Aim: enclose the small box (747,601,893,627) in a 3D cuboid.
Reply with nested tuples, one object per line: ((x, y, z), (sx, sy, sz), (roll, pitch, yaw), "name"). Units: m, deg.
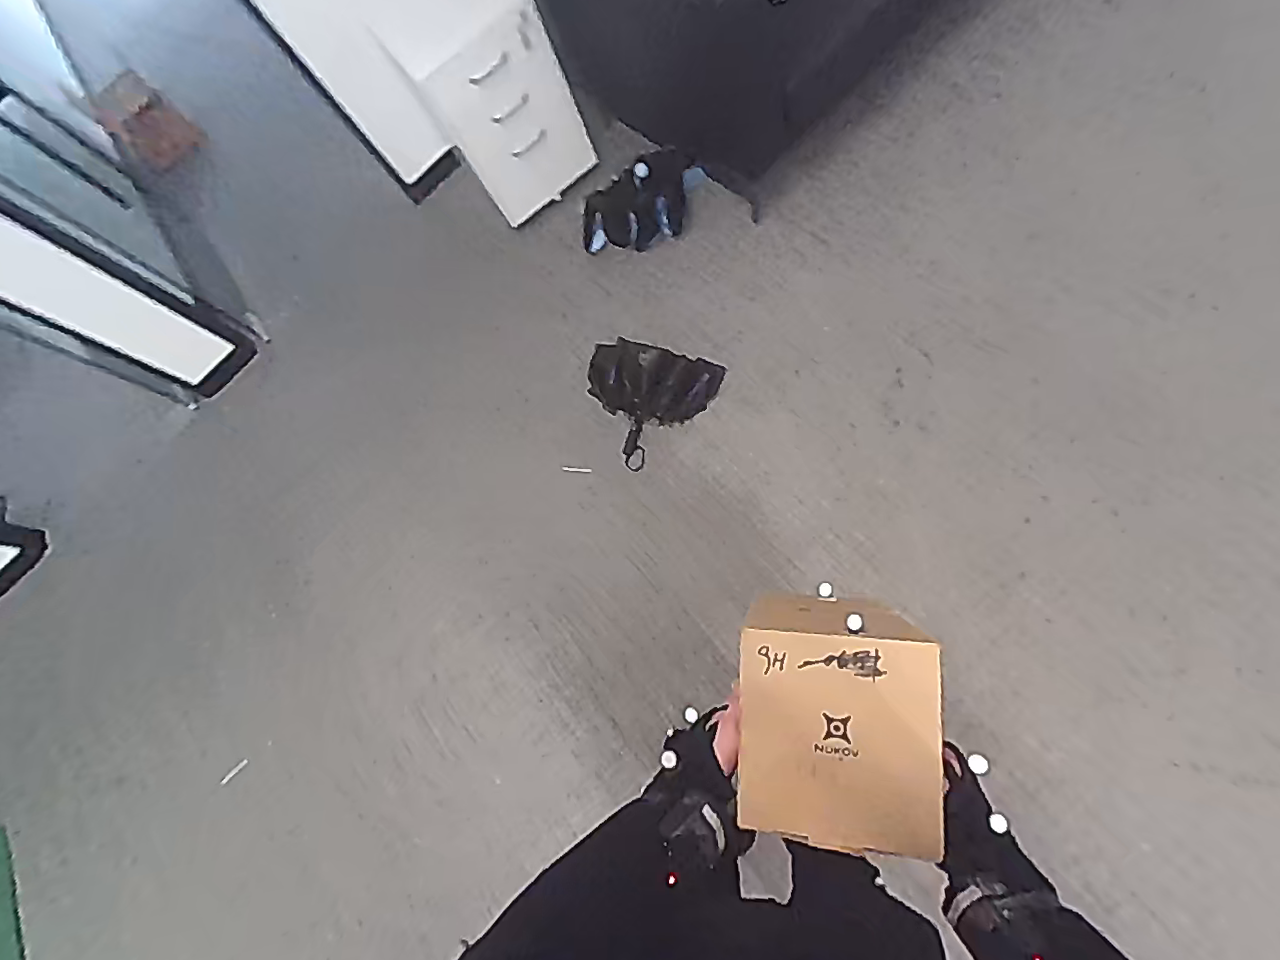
((0.229, 0.254, 0.700), (0.168, 0.176, 0.179), (-2, 81, 15), "small box")

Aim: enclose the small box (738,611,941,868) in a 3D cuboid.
((0.189, 0.236, 0.542), (0.168, 0.176, 0.179), (-1, 84, 14), "small box")
